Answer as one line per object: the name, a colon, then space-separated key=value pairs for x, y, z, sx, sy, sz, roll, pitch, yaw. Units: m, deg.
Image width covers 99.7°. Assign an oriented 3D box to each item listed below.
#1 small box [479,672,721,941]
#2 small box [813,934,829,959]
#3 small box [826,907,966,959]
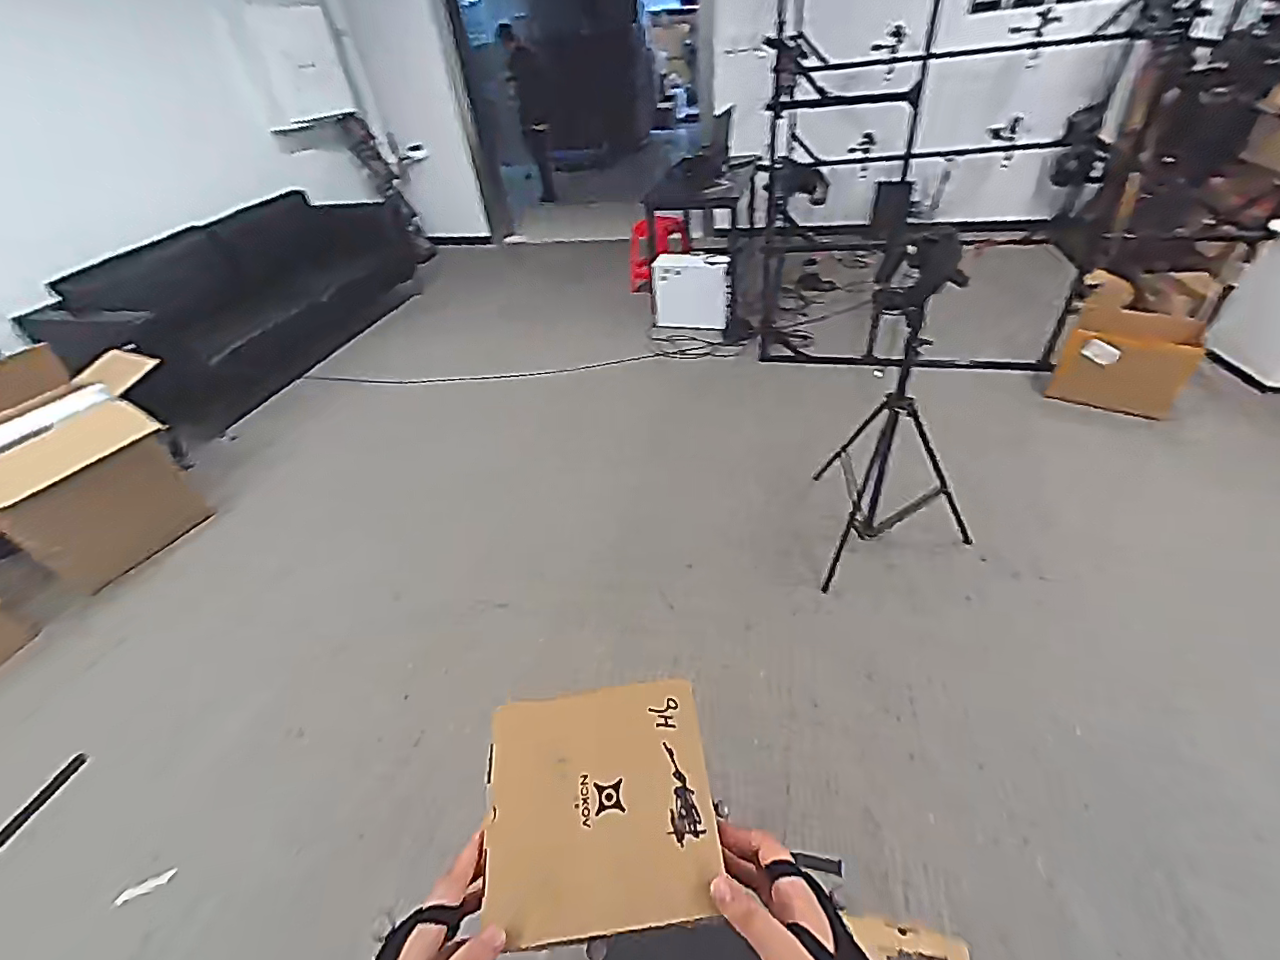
small box: x=-0.029 y=0.296 z=0.488 sx=0.179 sy=0.176 sz=0.168 roll=-8 pitch=49 yaw=-2
small box: x=0.364 y=0.870 z=0.859 sx=0.168 sy=0.176 sz=0.179 roll=3 pitch=41 yaw=13
small box: x=0.357 y=0.742 z=0.755 sx=0.168 sy=0.176 sz=0.179 roll=3 pitch=41 yaw=13
